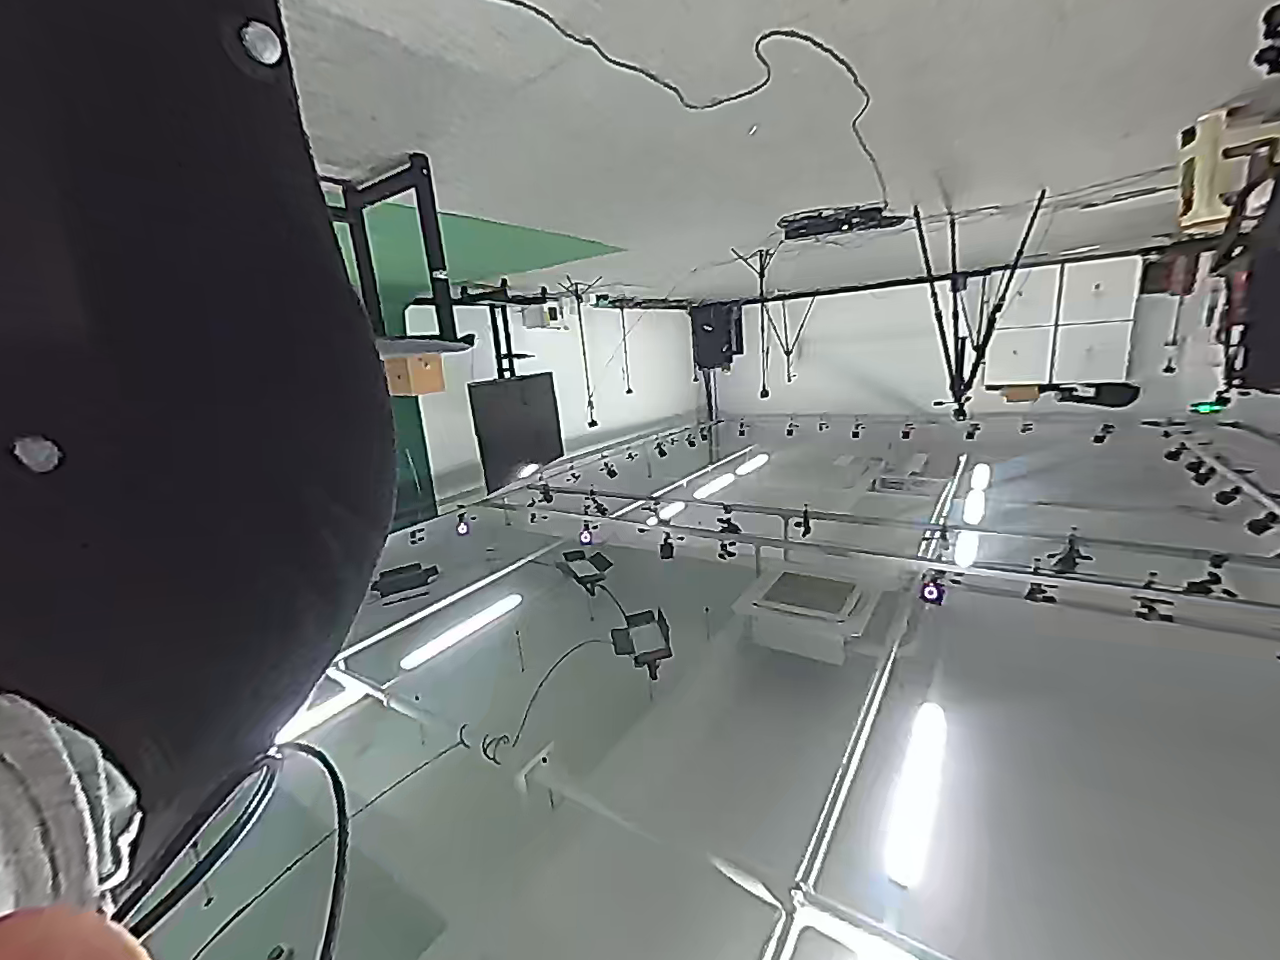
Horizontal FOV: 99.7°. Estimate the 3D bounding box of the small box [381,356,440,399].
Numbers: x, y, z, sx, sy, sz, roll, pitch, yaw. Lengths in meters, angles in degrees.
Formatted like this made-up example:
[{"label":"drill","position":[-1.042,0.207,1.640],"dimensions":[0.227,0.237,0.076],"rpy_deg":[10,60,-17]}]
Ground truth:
[{"label":"small box","position":[-0.989,-0.444,2.322],"dimensions":[0.179,0.176,0.168],"rpy_deg":[5,-163,34]}]
